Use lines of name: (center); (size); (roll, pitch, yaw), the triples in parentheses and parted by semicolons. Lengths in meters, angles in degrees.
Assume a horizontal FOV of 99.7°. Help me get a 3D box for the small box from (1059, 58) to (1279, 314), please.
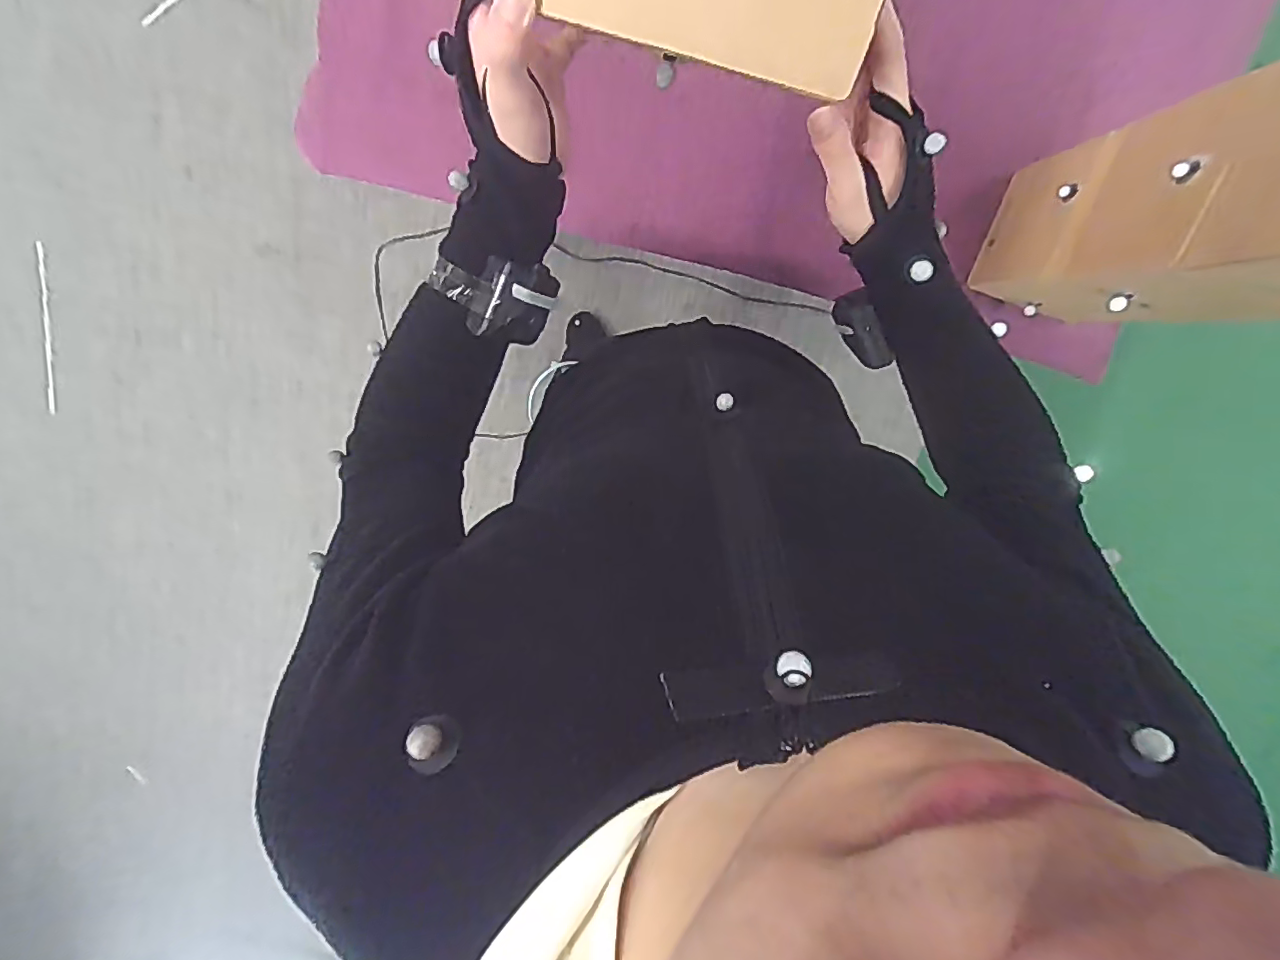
small box: (0.595, -0.283, 0.559); (0.168, 0.176, 0.179); (17, 106, -4)

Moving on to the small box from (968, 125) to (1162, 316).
small box: (0.591, -0.326, 0.716); (0.179, 0.176, 0.168); (17, 105, -6)

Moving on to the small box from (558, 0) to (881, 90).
small box: (0.051, -0.330, 0.287); (0.179, 0.176, 0.168); (15, 128, -3)
